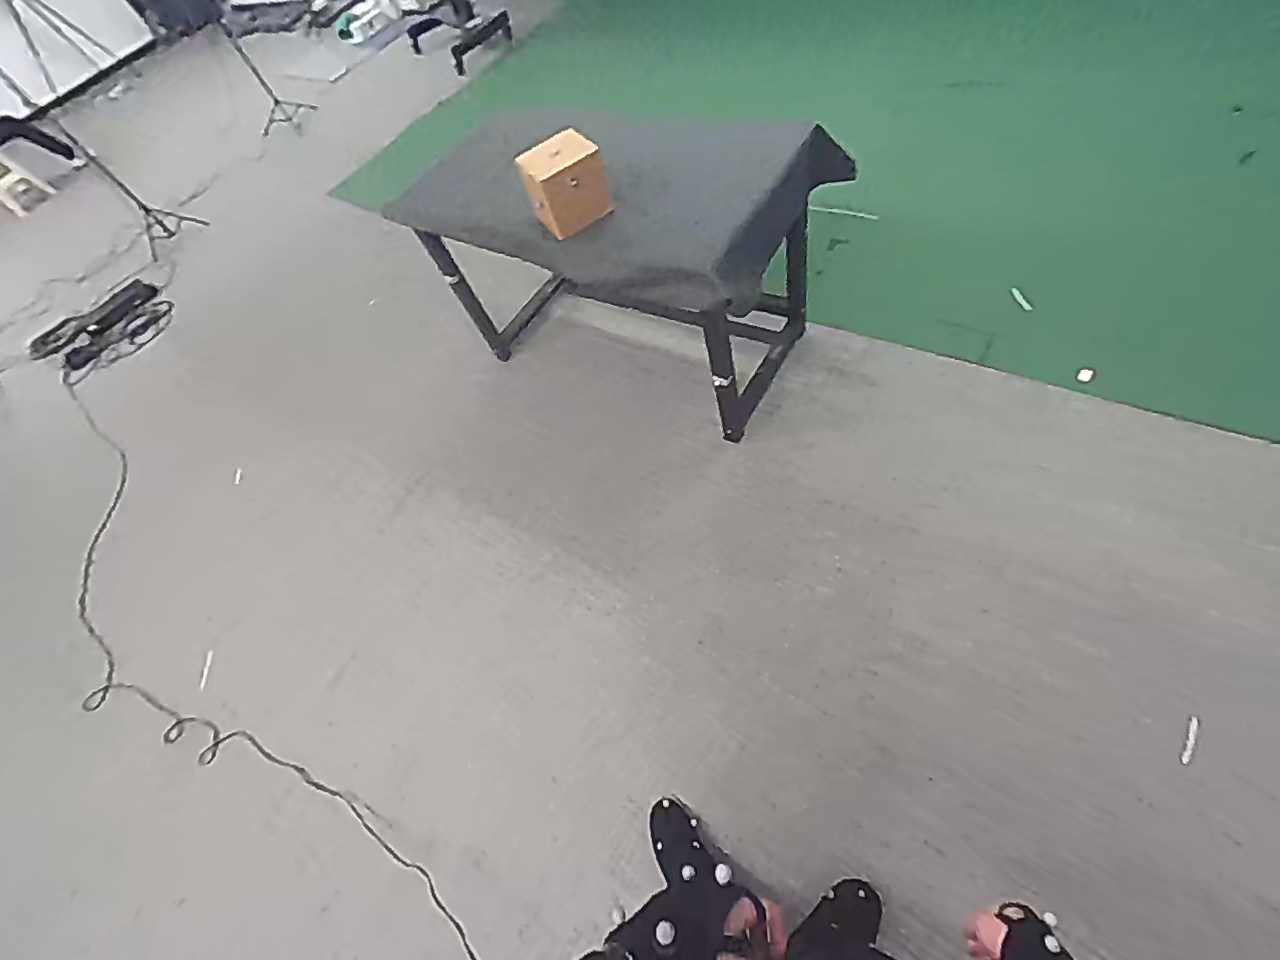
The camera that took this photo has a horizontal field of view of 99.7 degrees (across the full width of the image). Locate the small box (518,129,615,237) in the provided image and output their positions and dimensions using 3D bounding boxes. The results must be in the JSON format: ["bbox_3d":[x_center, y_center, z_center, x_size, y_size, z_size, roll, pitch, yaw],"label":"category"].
[{"bbox_3d":[-0.189,-0.780,1.429,0.179,0.176,0.168,-32,57,-7],"label":"small box"}]
